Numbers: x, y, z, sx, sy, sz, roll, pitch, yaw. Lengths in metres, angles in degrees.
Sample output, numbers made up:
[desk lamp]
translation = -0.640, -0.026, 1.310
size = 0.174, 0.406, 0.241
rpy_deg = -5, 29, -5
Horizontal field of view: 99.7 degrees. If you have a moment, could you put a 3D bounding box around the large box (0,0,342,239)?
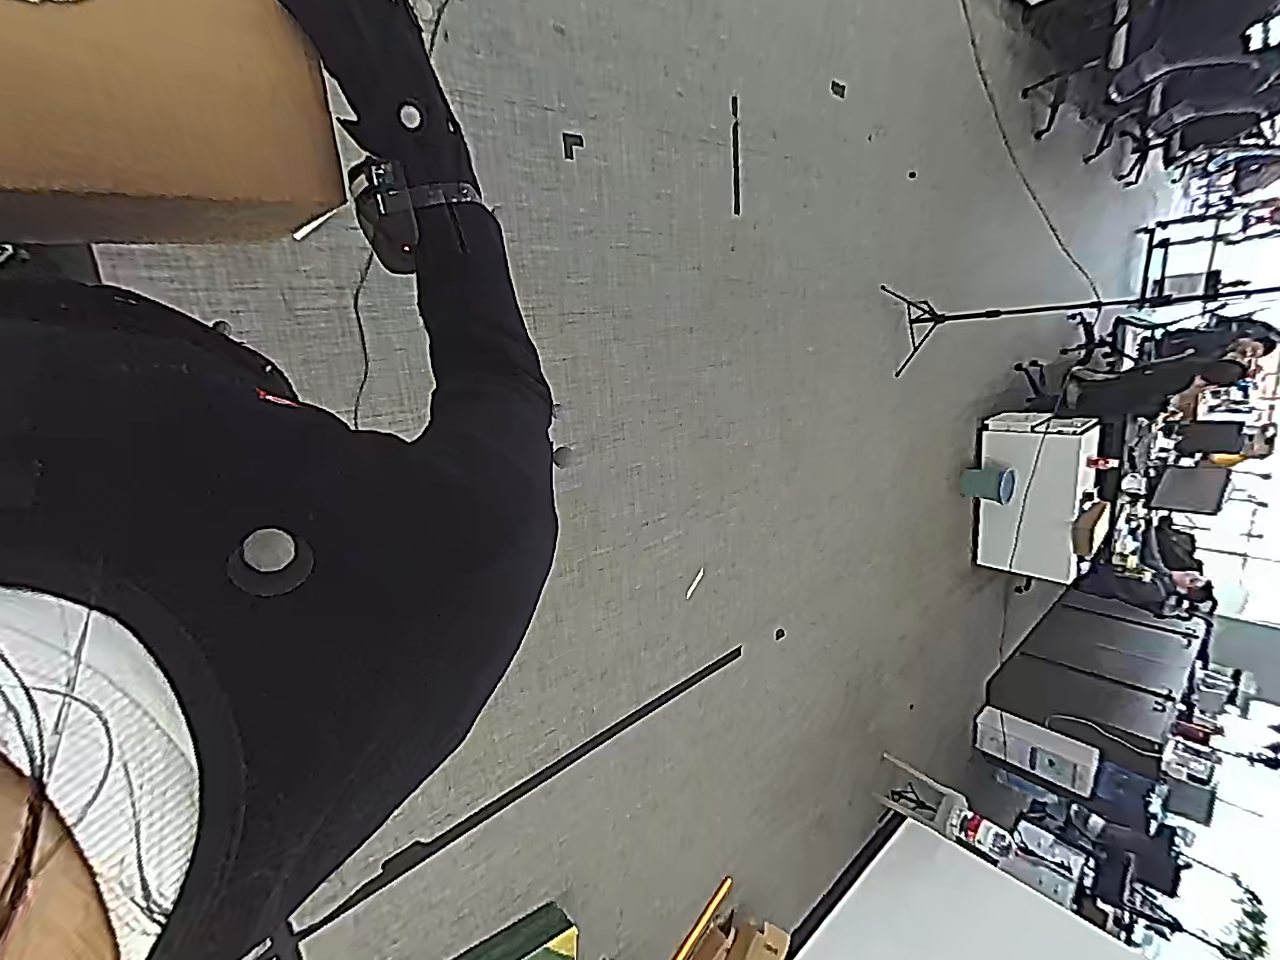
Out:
[large box]
translation = -0.478, -0.331, 0.337
size = 0.408, 0.320, 0.320
rpy_deg = -20, 117, -38
